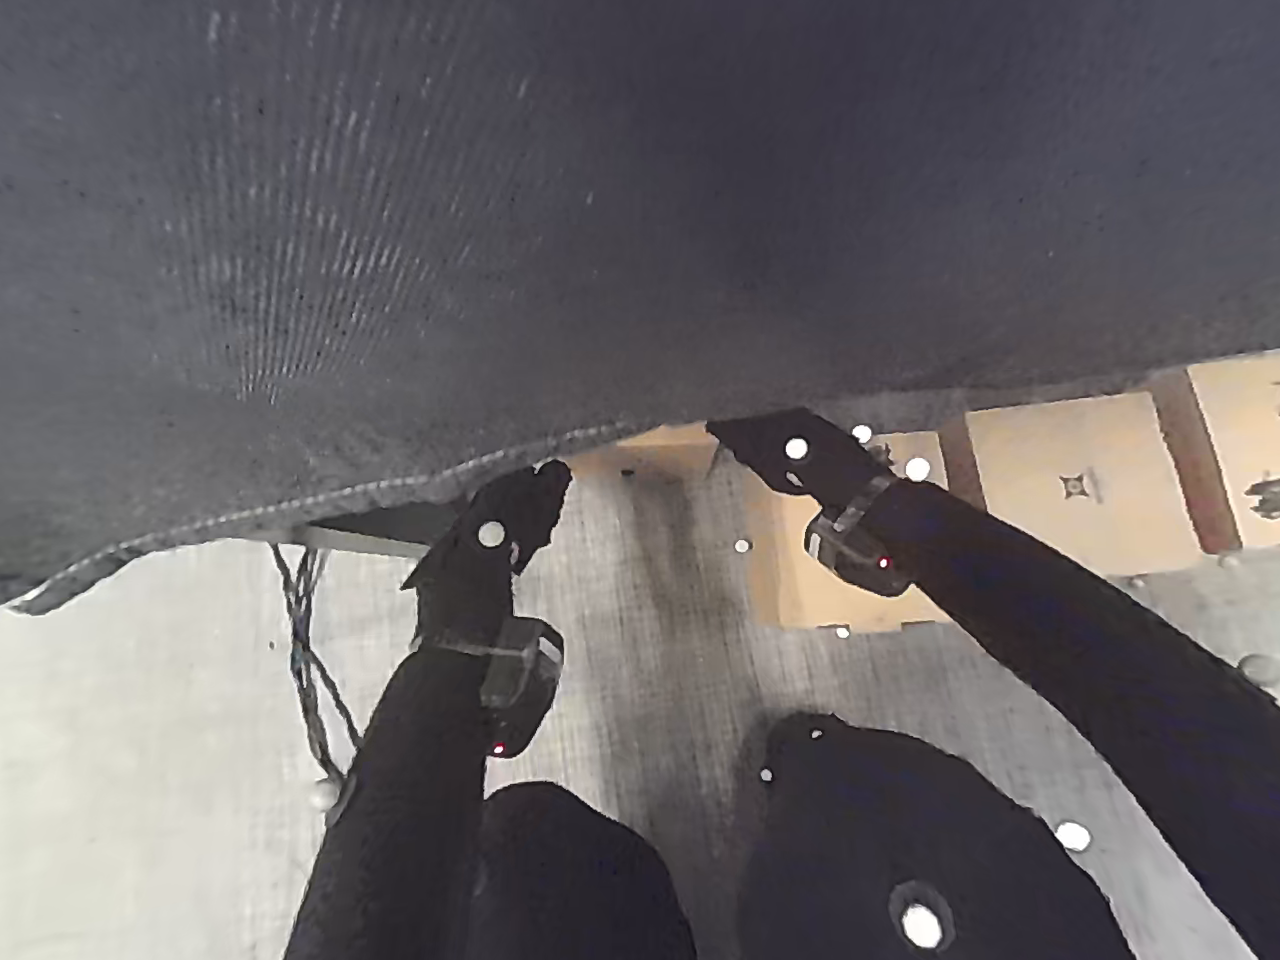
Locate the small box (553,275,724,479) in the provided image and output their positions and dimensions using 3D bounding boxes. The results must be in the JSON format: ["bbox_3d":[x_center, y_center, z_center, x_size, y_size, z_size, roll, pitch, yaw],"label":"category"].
[{"bbox_3d":[0.003,-0.104,0.607,0.168,0.176,0.179,-1,77,4],"label":"small box"}]
